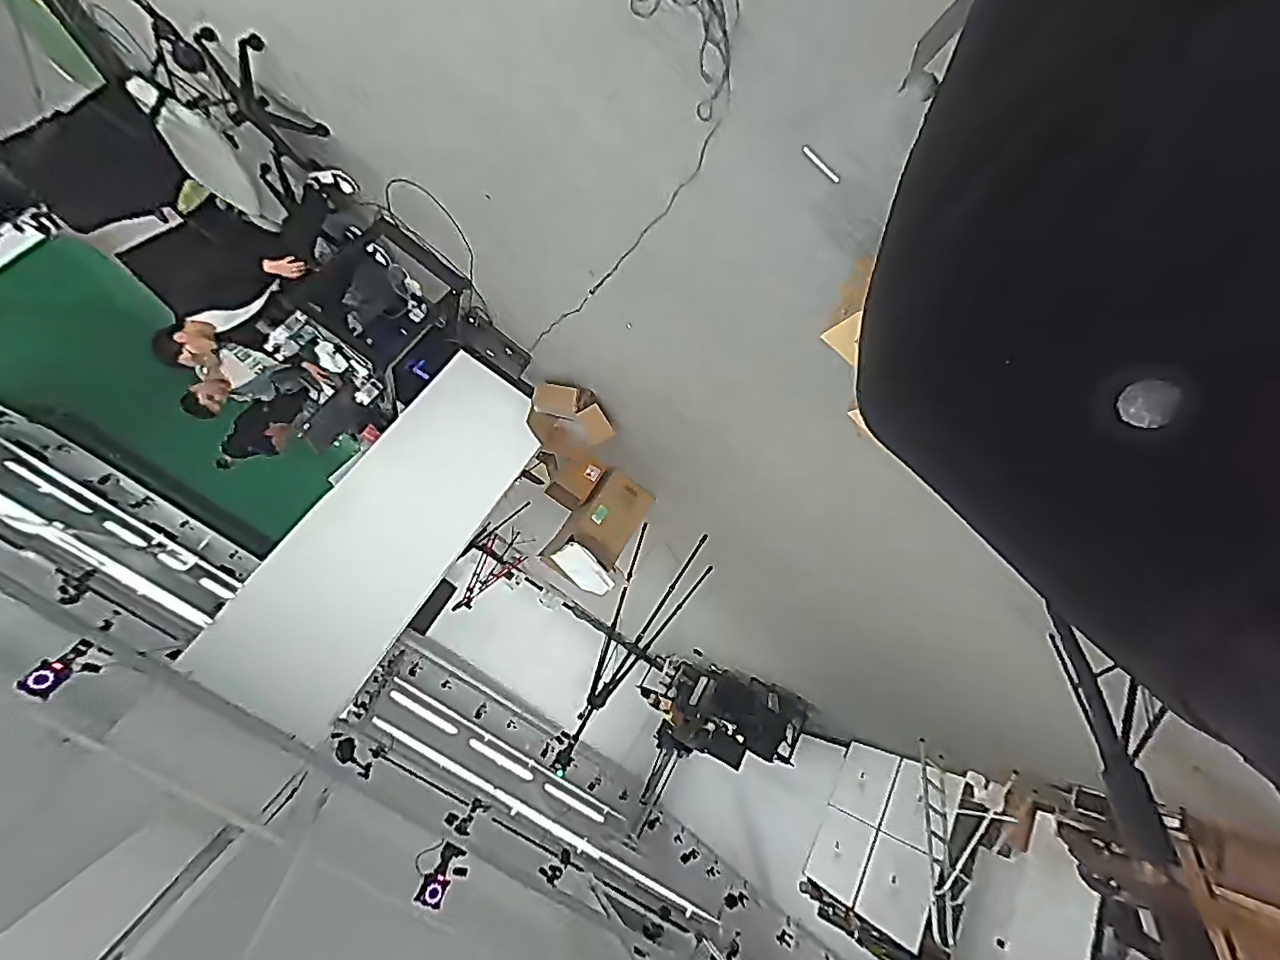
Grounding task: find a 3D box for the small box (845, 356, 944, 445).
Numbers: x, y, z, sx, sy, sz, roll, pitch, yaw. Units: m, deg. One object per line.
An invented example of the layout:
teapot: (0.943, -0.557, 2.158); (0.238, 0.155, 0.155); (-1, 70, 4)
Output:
small box: (0.738, -0.227, 1.565); (0.168, 0.176, 0.179); (38, 157, -18)
